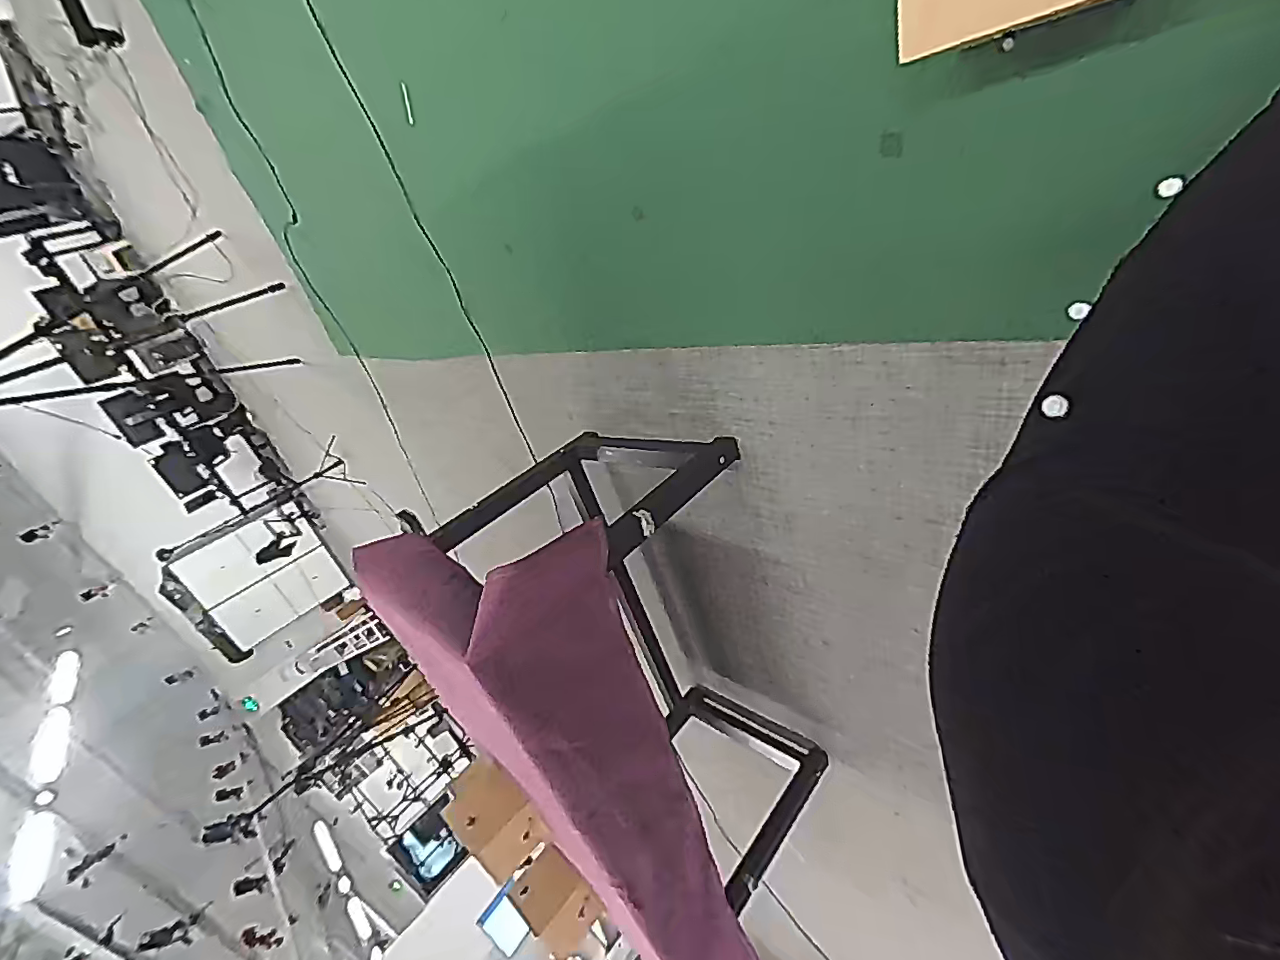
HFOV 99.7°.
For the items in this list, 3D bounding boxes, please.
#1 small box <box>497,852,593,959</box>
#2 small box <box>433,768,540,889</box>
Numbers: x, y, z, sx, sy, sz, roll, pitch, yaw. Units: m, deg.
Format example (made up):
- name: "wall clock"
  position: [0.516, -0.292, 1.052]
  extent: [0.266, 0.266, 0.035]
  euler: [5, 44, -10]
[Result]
- name: "small box"
  position: [-0.263, 1.193, 1.516]
  extent: [0.179, 0.176, 0.168]
  euler: [9, 127, 47]
- name: "small box"
  position: [-0.387, 0.875, 1.379]
  extent: [0.179, 0.176, 0.168]
  euler: [16, 132, 41]
